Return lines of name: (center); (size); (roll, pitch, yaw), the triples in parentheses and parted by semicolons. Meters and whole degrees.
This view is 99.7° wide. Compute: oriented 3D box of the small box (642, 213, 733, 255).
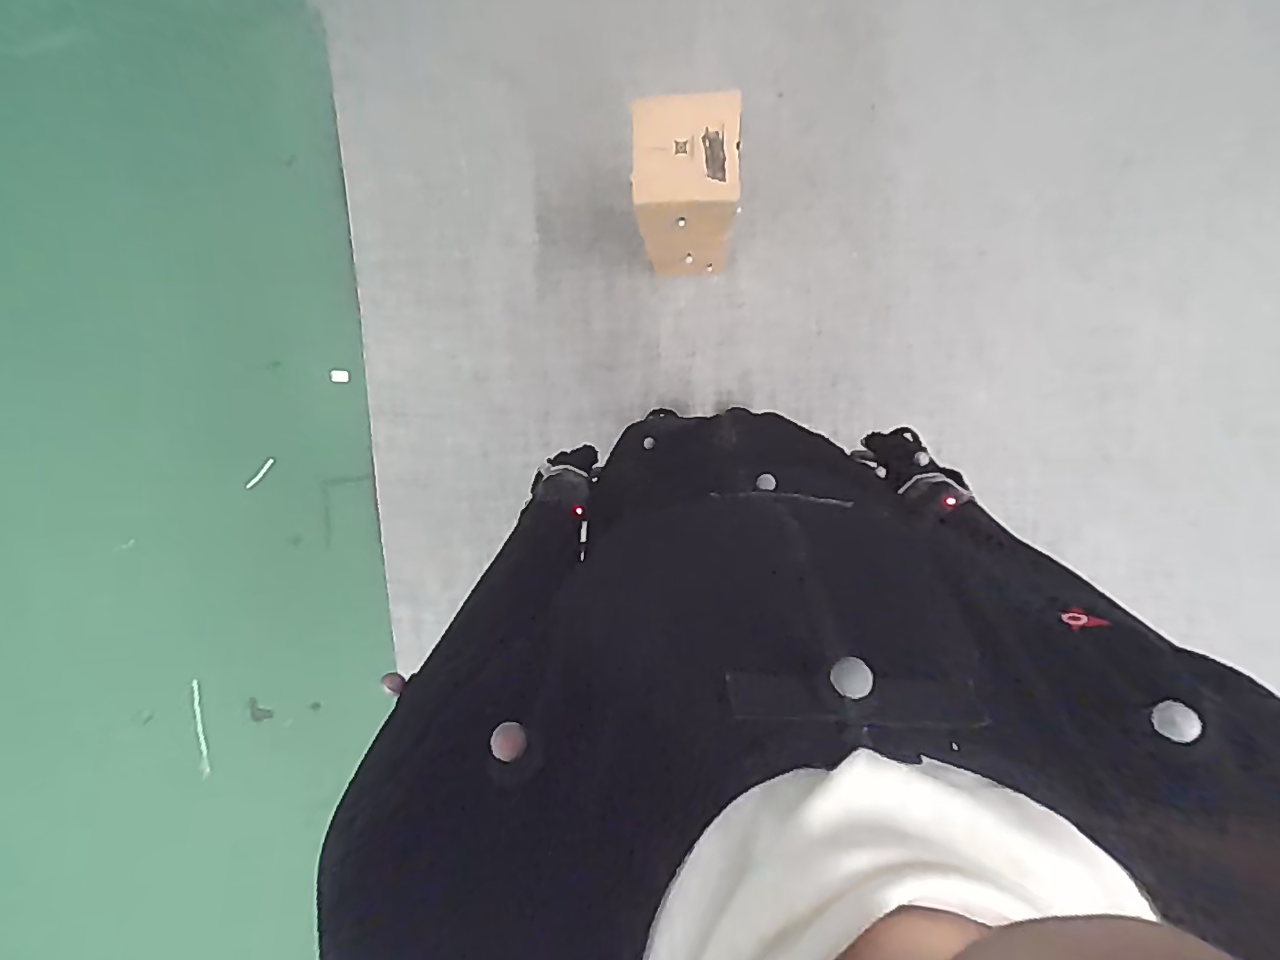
small box: (0.099, -0.570, 1.110); (0.179, 0.176, 0.168); (3, 98, 4)

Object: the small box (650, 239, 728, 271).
small box: (0.115, -0.600, 1.271); (0.179, 0.176, 0.168); (-1, 98, 7)

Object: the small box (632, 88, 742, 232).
small box: (0.080, -0.549, 0.948); (0.179, 0.176, 0.168); (-2, 98, 4)
